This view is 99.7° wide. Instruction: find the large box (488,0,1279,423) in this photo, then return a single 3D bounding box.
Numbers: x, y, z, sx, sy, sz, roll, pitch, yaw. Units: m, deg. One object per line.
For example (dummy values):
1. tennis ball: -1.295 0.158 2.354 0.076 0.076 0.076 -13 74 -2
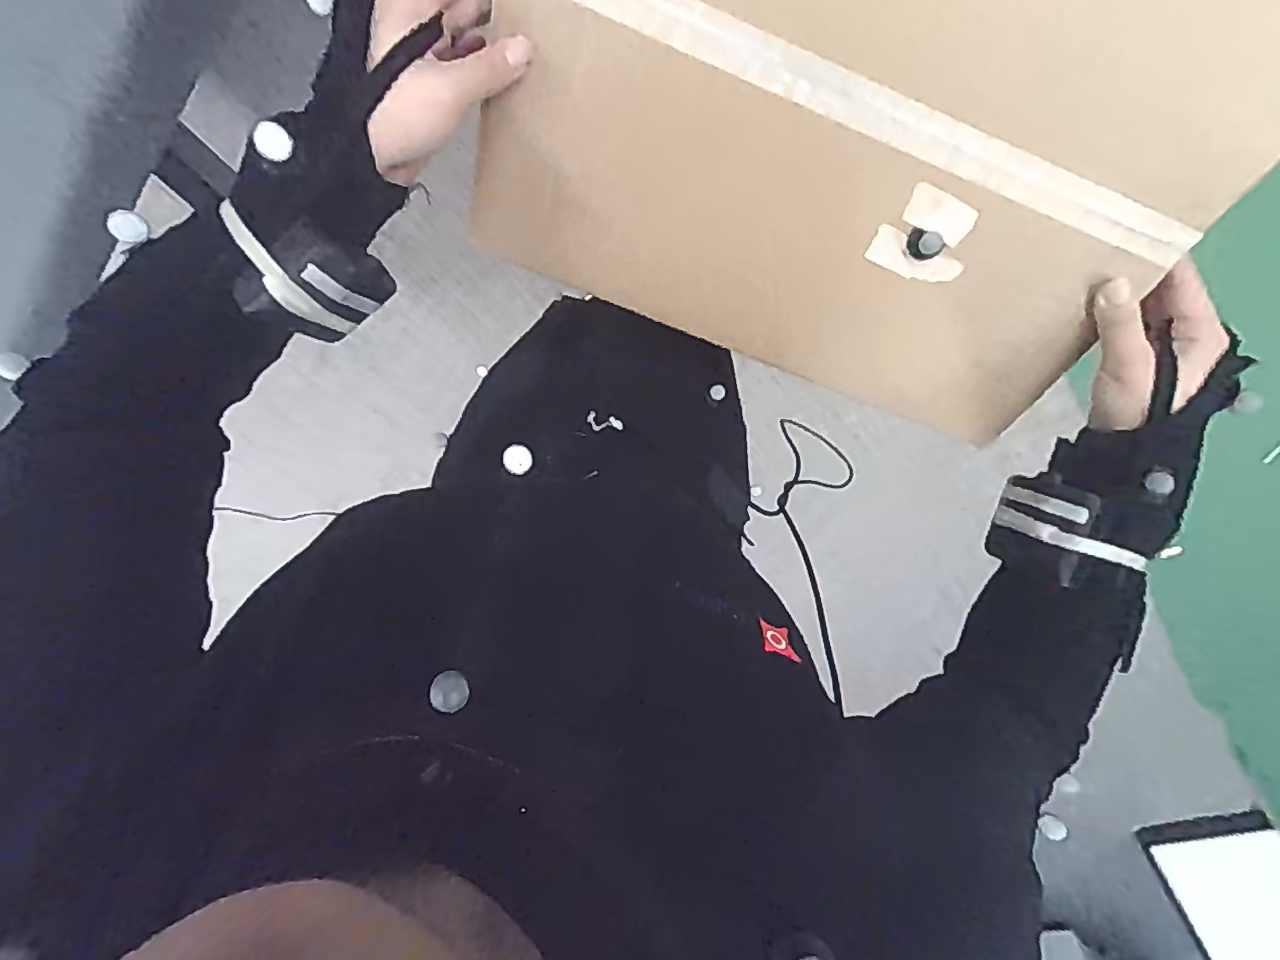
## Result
1. large box: 0.145 -0.302 0.398 0.408 0.320 0.320 18 131 -6
